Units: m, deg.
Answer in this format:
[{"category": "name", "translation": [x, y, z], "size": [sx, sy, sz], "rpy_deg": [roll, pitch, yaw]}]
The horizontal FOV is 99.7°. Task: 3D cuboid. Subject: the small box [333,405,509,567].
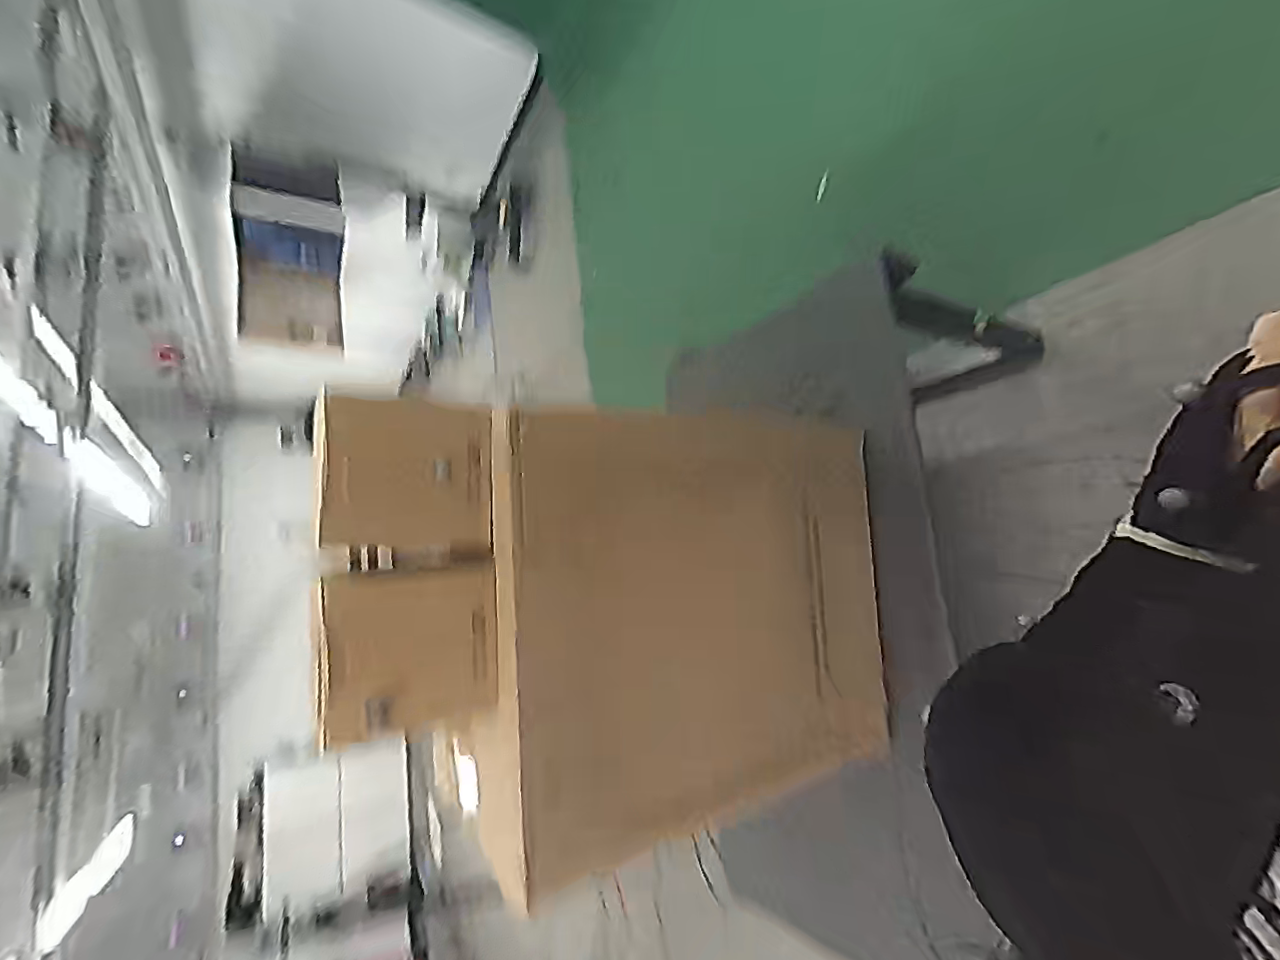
[{"category": "small box", "translation": [-0.265, 0.016, 0.648], "size": [0.179, 0.176, 0.168], "rpy_deg": [-14, 78, 56]}]
